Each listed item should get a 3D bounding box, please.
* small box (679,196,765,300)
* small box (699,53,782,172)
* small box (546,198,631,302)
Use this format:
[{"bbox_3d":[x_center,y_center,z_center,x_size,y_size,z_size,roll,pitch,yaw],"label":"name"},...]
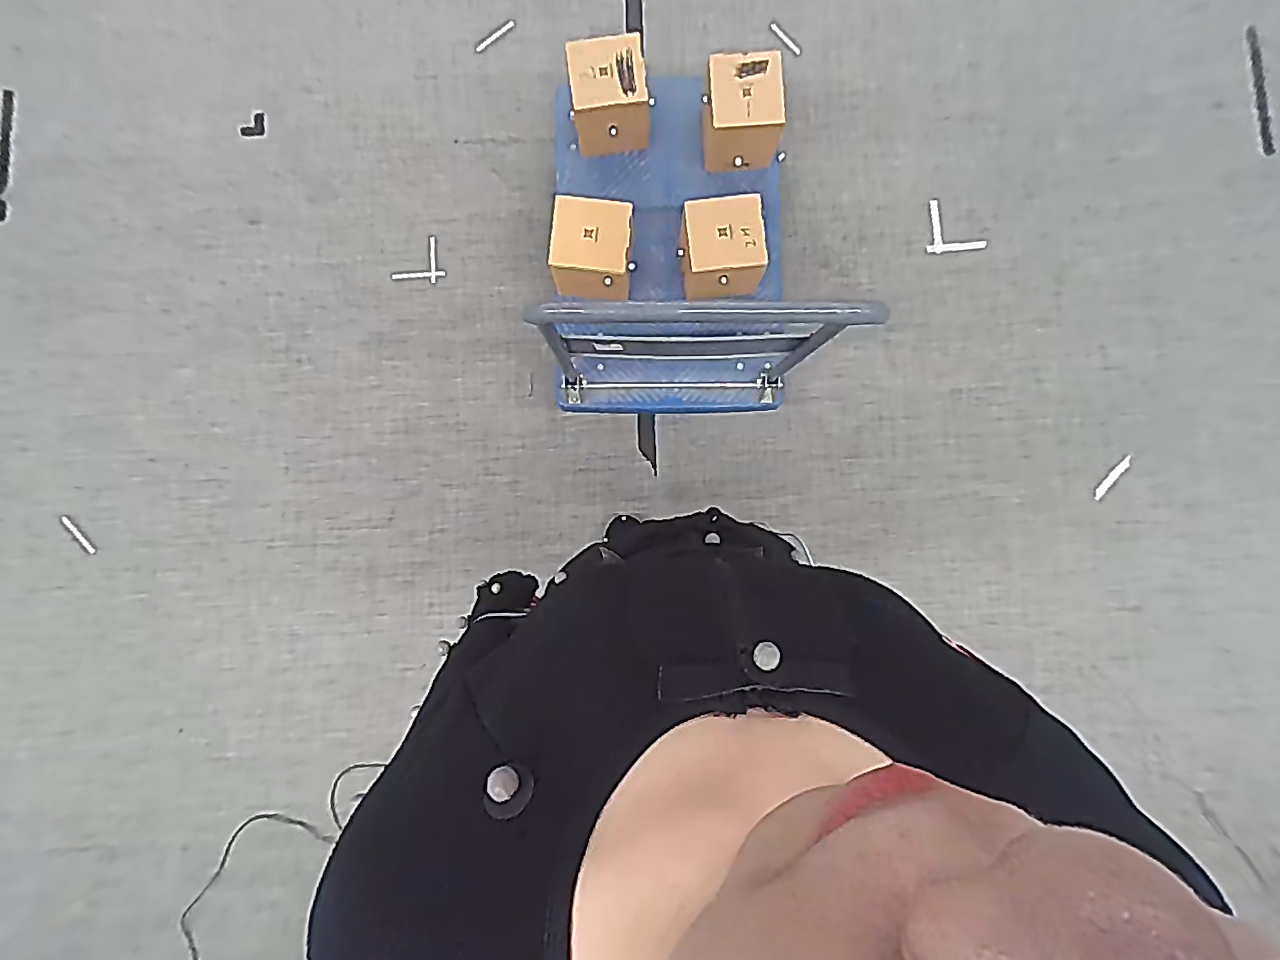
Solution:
[{"bbox_3d":[0.187,-0.544,1.287,0.179,0.176,0.168,-6,87,0],"label":"small box"},{"bbox_3d":[0.237,-0.880,1.305,0.168,0.176,0.179,-4,88,0],"label":"small box"},{"bbox_3d":[-0.117,-0.540,1.288,0.179,0.176,0.168,6,86,-1],"label":"small box"}]
